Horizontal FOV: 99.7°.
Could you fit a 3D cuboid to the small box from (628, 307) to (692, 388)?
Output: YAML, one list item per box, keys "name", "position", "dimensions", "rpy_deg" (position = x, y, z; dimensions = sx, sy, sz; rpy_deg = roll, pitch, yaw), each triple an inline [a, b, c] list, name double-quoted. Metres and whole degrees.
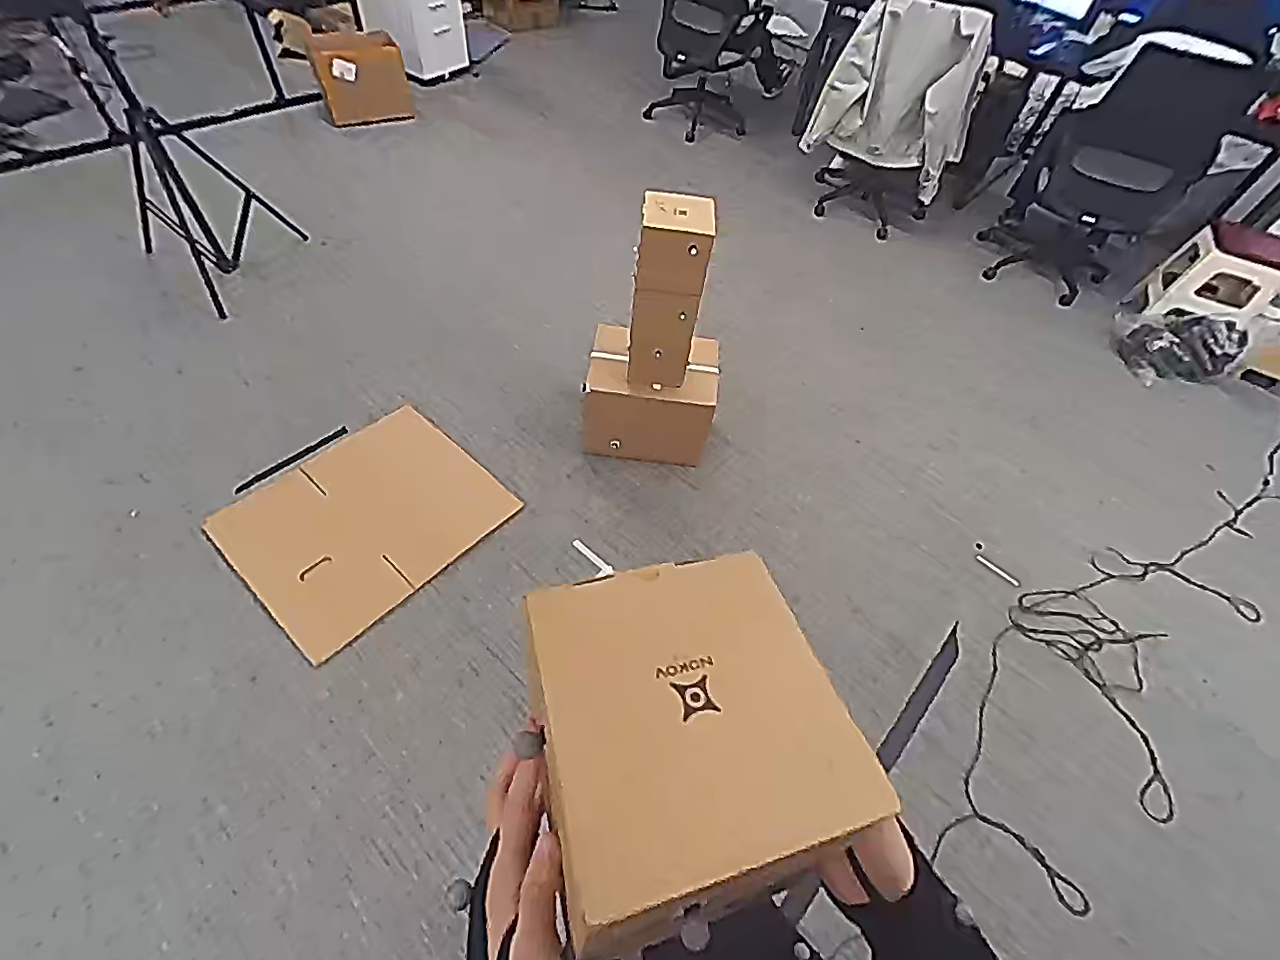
- name: "small box"
  position: [0.058, -0.396, 1.630]
  dimensions: [0.179, 0.176, 0.168]
  rpy_deg: [6, 55, -4]

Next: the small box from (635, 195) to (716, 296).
- name: "small box"
  position: [0.087, -0.586, 1.363]
  dimensions: [0.179, 0.176, 0.168]
  rpy_deg: [6, 54, -3]

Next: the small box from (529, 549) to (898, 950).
- name: "small box"
  position: [0.023, 0.176, 0.361]
  dimensions: [0.168, 0.176, 0.179]
  rpy_deg: [-7, 44, -17]
